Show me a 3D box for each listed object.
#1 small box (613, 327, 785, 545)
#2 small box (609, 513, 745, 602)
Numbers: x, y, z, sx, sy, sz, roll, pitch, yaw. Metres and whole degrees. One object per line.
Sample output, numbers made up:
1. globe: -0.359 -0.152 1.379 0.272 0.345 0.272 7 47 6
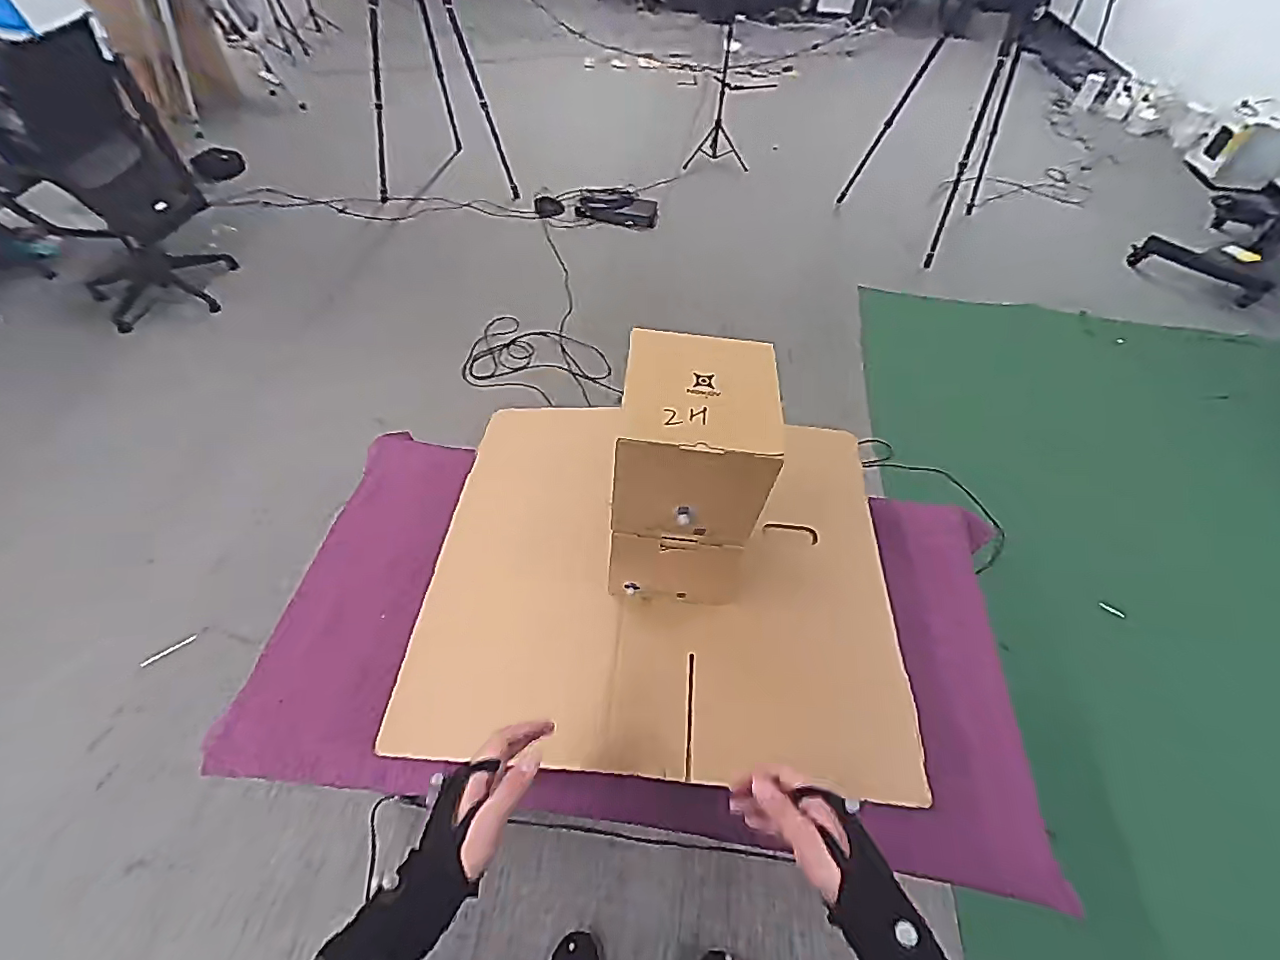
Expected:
1. small box: 0.059 -0.049 0.628 0.168 0.176 0.179 6 53 0
2. small box: 0.047 0.053 0.757 0.168 0.176 0.179 7 52 -1
